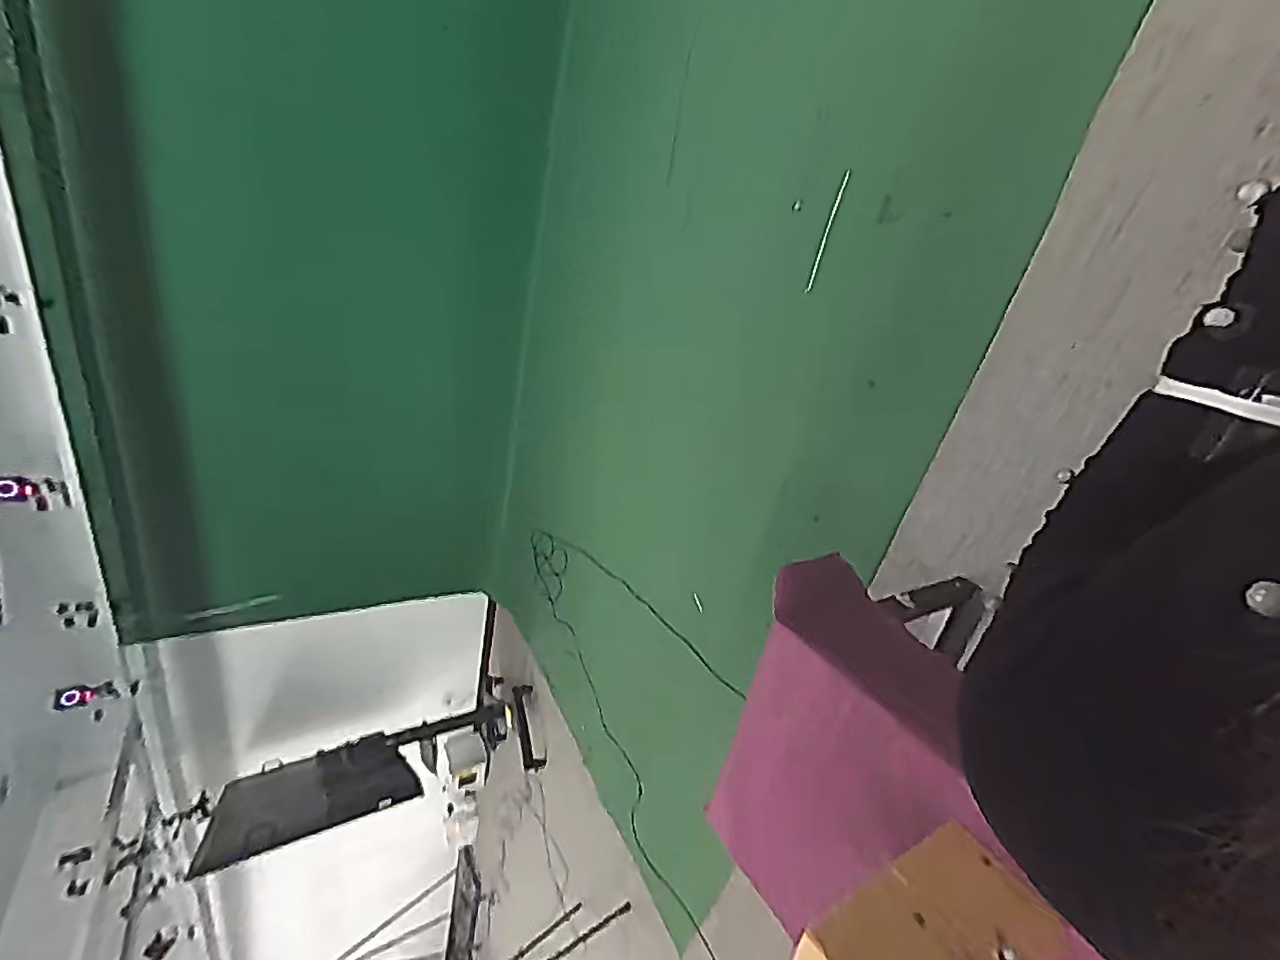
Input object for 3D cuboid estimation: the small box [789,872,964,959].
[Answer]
[{"bbox_3d":[0.293,0.638,0.663,0.168,0.176,0.179,38,125,50],"label":"small box"}]
